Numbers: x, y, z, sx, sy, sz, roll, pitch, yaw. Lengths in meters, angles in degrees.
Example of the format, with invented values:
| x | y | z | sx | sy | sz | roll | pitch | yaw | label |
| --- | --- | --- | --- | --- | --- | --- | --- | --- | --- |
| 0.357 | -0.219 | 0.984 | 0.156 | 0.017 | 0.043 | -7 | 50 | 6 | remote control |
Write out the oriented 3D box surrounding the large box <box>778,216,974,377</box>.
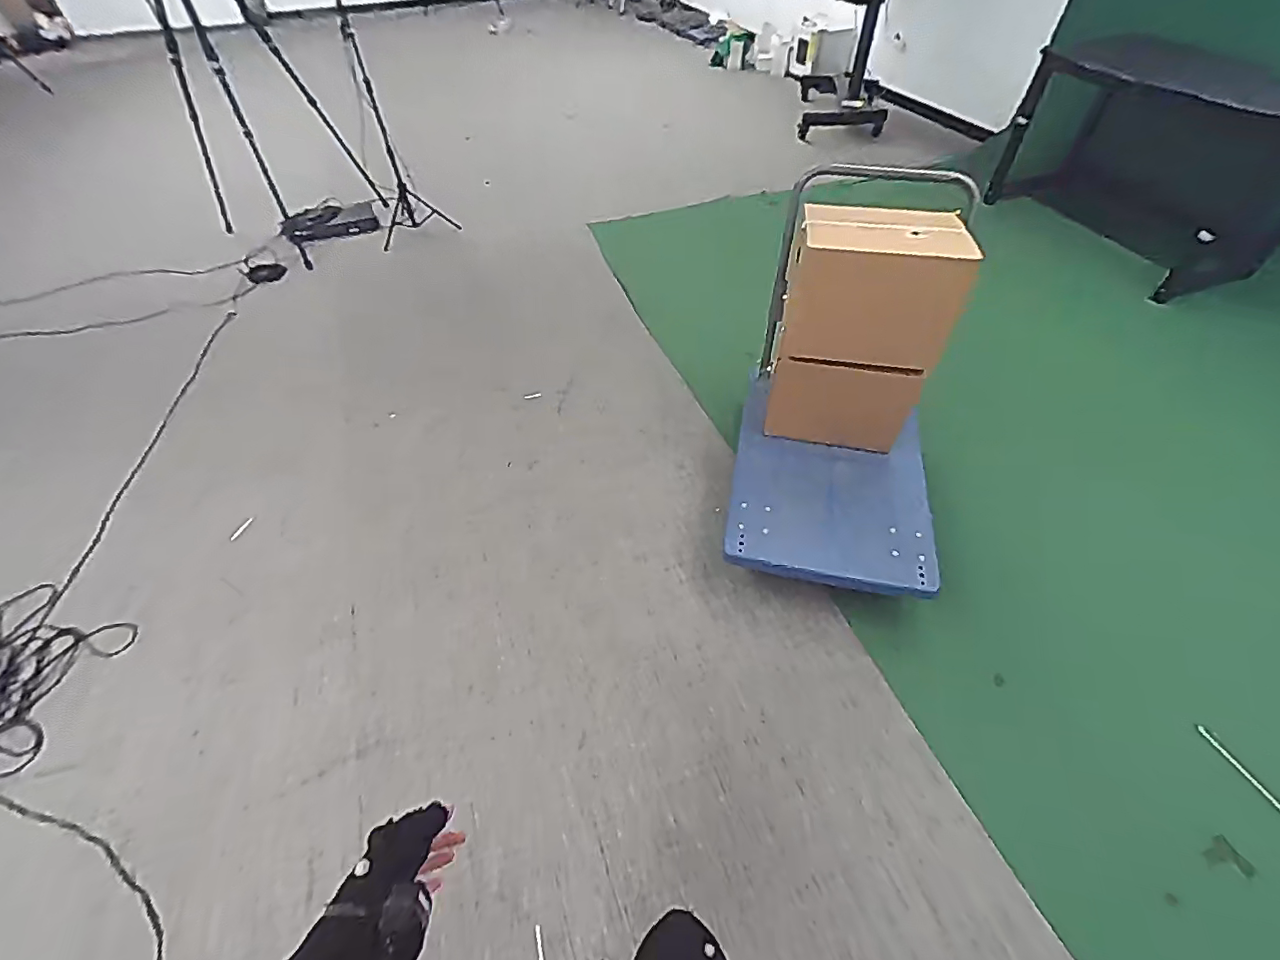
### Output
| x | y | z | sx | sy | sz | roll | pitch | yaw | label |
| --- | --- | --- | --- | --- | --- | --- | --- | --- | --- |
| 0.615 | -0.512 | 1.502 | 0.408 | 0.320 | 0.320 | 8 | 45 | 7 | large box |
